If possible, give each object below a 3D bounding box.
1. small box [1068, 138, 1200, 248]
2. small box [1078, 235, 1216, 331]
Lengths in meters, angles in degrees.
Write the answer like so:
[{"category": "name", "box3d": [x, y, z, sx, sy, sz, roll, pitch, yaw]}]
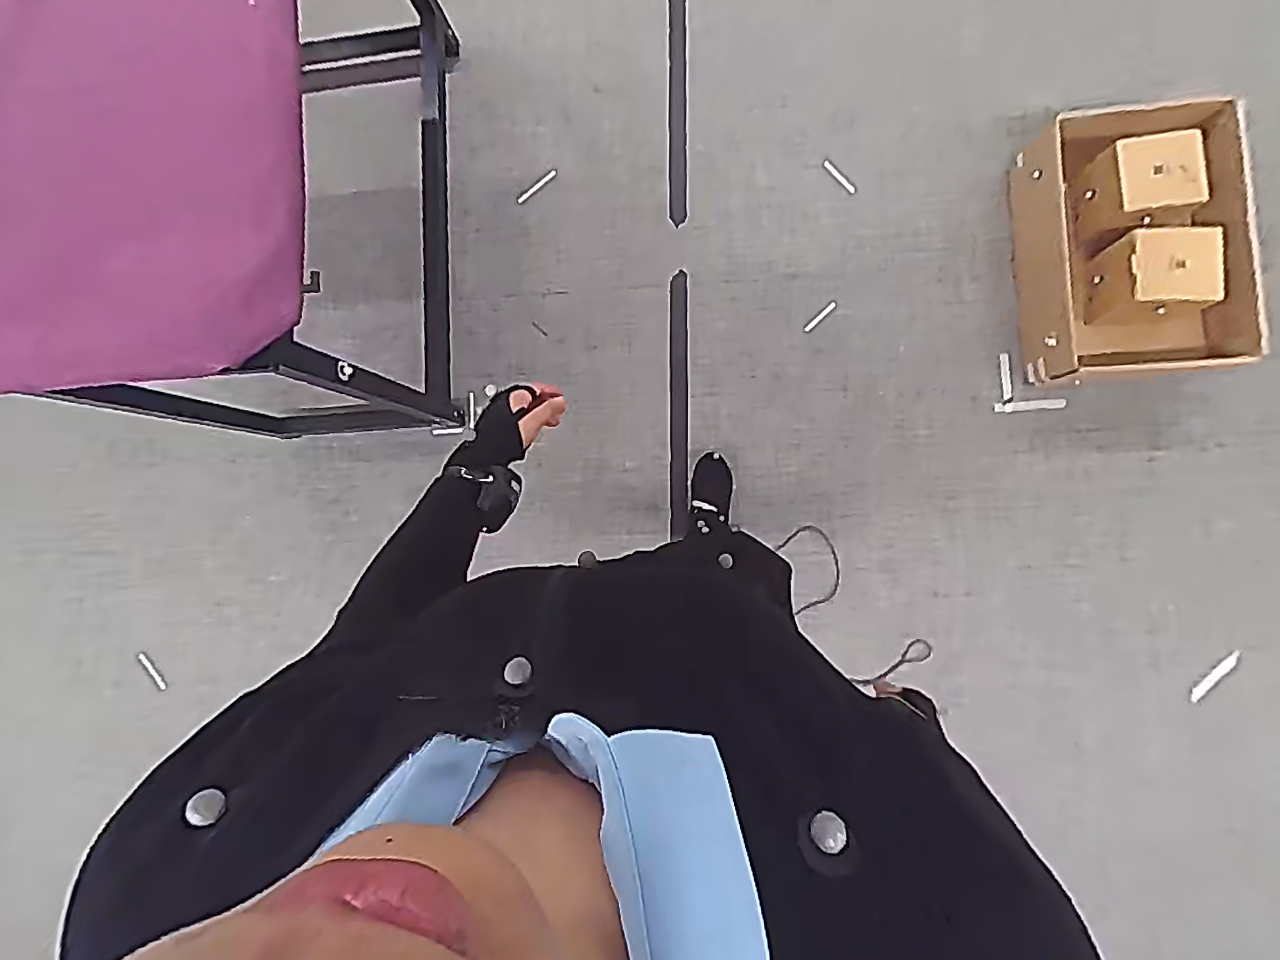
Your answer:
[{"category": "small box", "box3d": [1.169, -0.677, 1.298, 0.179, 0.176, 0.168, -4, 88, 6]}, {"category": "small box", "box3d": [1.196, -0.461, 1.285, 0.179, 0.176, 0.168, 3, 86, 7]}]
